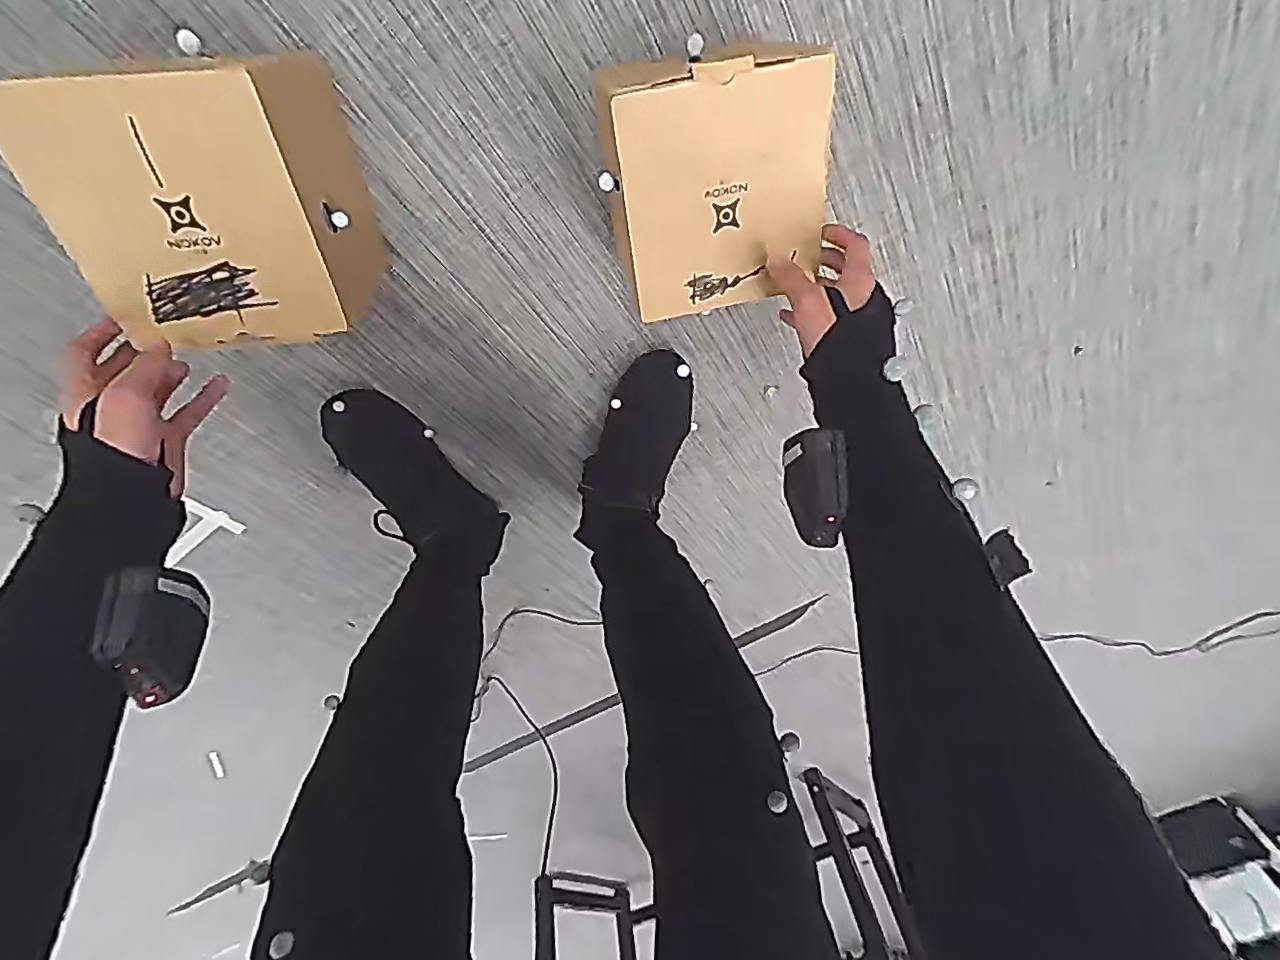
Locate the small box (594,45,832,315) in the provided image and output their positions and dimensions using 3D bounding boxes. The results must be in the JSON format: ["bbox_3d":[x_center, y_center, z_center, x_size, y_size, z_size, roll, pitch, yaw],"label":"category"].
[{"bbox_3d":[0.056,-0.279,0.498,0.168,0.176,0.179,-11,130,-2],"label":"small box"}]

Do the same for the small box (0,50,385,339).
[{"bbox_3d":[-0.332,-0.240,0.449,0.168,0.176,0.179,-7,131,-6],"label":"small box"}]
